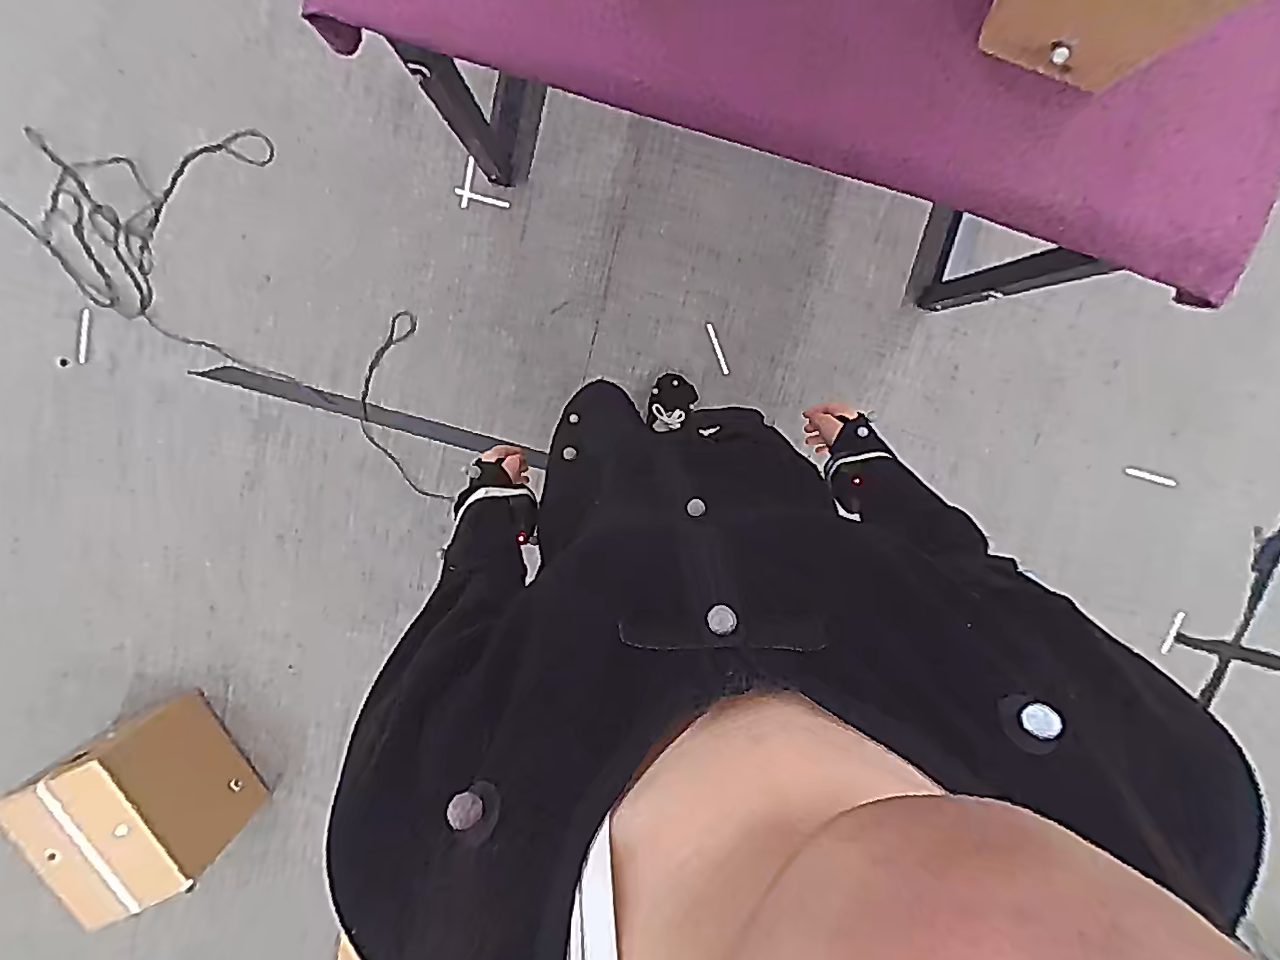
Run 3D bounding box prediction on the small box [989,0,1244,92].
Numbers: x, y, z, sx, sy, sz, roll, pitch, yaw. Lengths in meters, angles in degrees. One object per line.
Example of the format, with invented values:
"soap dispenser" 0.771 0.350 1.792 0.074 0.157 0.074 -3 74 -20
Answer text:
"small box" 0.512 -0.560 0.562 0.168 0.176 0.179 18 100 -4
